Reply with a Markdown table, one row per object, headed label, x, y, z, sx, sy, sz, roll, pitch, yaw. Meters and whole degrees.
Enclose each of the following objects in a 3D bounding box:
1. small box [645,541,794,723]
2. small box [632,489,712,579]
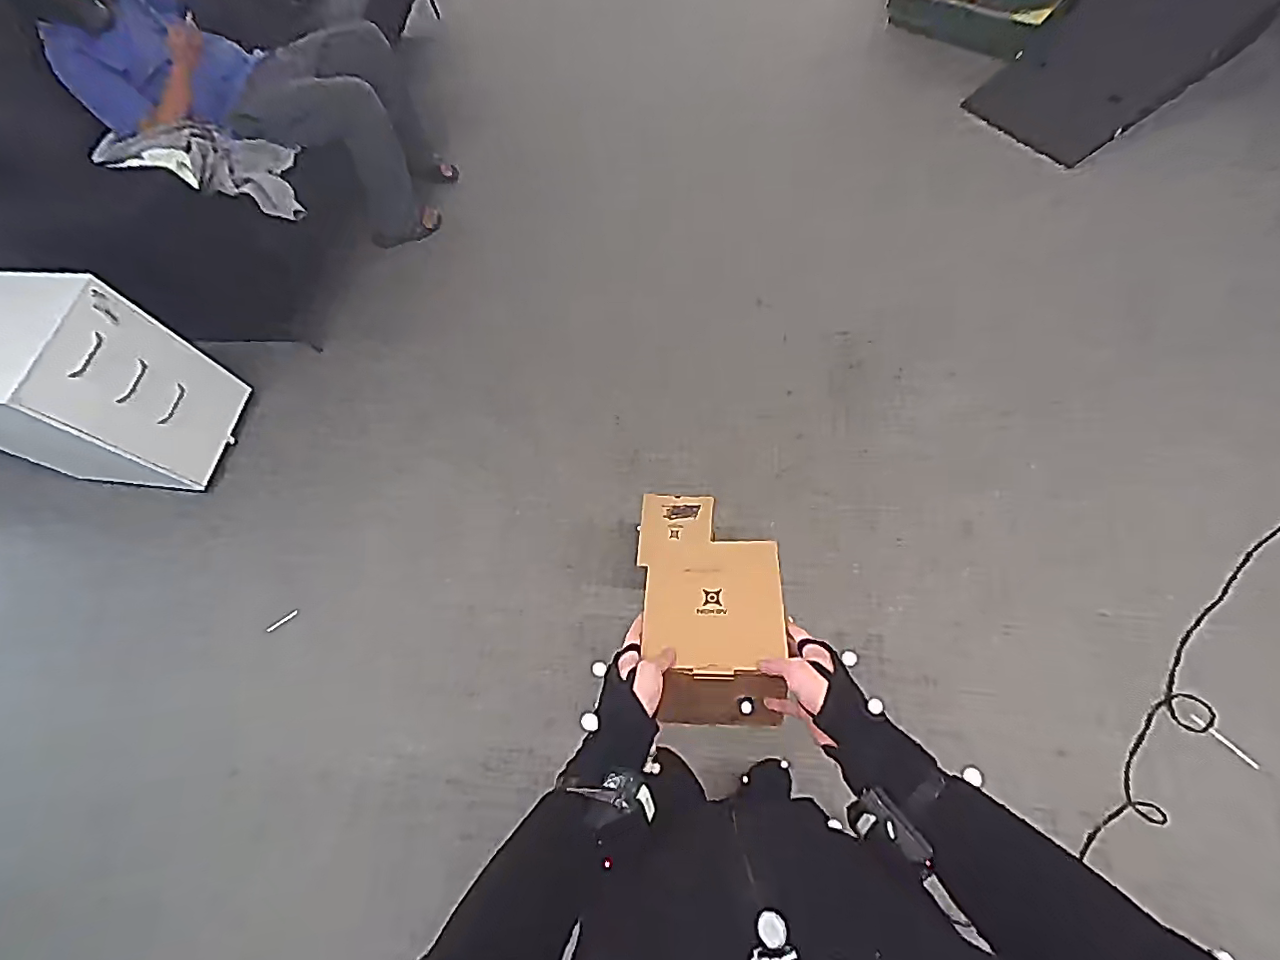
| label | x | y | z | sx | sy | sz | roll | pitch | yaw |
| --- | --- | --- | --- | --- | --- | --- | --- | --- | --- |
| small box | 0.102 | 0.198 | 0.699 | 0.168 | 0.176 | 0.179 | -1 | 46 | 7 |
| small box | 0.083 | 0.139 | 1.296 | 0.168 | 0.176 | 0.179 | 5 | 67 | 11 |
